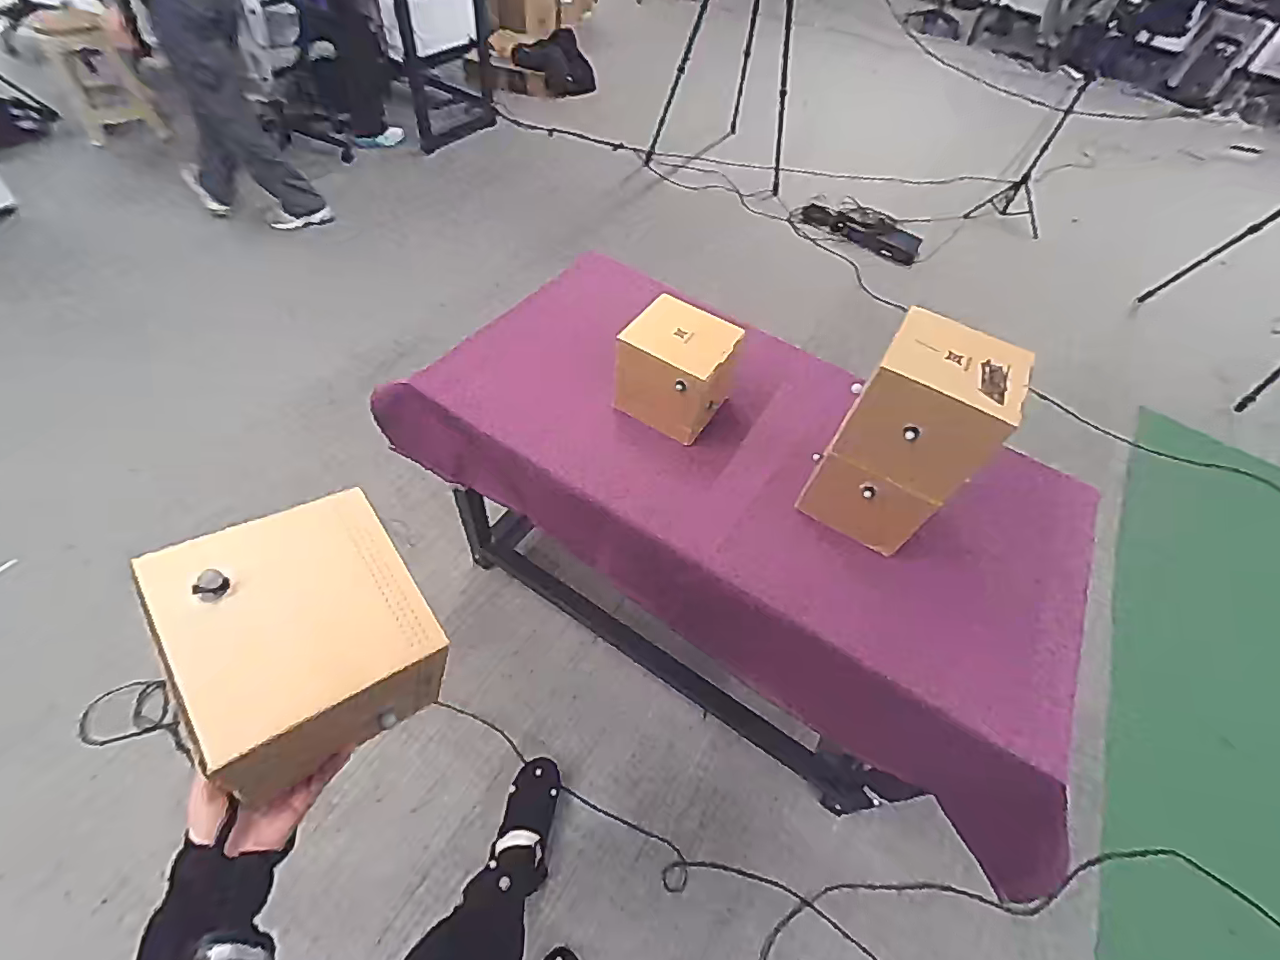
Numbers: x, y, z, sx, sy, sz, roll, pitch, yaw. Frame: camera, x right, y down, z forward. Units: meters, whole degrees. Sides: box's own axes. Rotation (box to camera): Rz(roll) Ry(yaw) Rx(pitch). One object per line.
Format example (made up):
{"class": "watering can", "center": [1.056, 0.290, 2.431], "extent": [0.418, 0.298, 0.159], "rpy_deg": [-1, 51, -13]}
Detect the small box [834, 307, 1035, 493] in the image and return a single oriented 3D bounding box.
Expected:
{"class": "small box", "center": [0.411, -0.106, 0.771], "extent": [0.179, 0.176, 0.168], "rpy_deg": [29, 56, 15]}

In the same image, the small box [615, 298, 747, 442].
{"class": "small box", "center": [0.068, -0.200, 1.005], "extent": [0.179, 0.176, 0.168], "rpy_deg": [29, 55, 13]}

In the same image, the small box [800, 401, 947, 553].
{"class": "small box", "center": [0.393, -0.008, 0.901], "extent": [0.179, 0.176, 0.168], "rpy_deg": [31, 56, 14]}

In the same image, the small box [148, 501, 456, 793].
{"class": "small box", "center": [-0.290, 0.138, 0.488], "extent": [0.176, 0.168, 0.179], "rpy_deg": [-24, 68, -36]}
